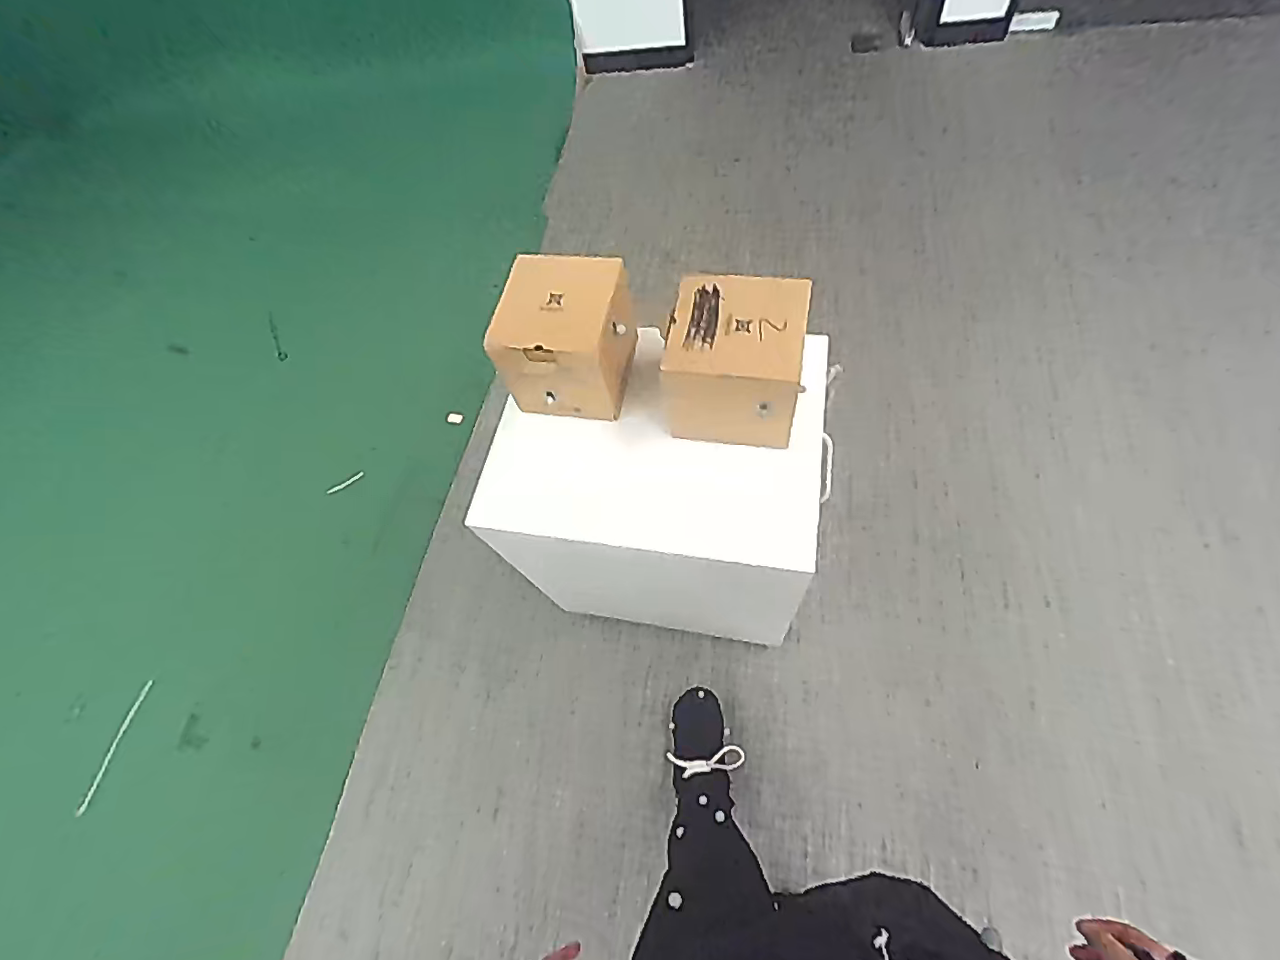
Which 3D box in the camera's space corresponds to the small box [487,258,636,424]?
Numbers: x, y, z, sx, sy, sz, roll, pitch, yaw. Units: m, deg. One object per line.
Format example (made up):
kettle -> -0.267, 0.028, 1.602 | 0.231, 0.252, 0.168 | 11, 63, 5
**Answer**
small box -> -0.106, -0.210, 0.831 | 0.168, 0.176, 0.179 | 7, 66, 12
